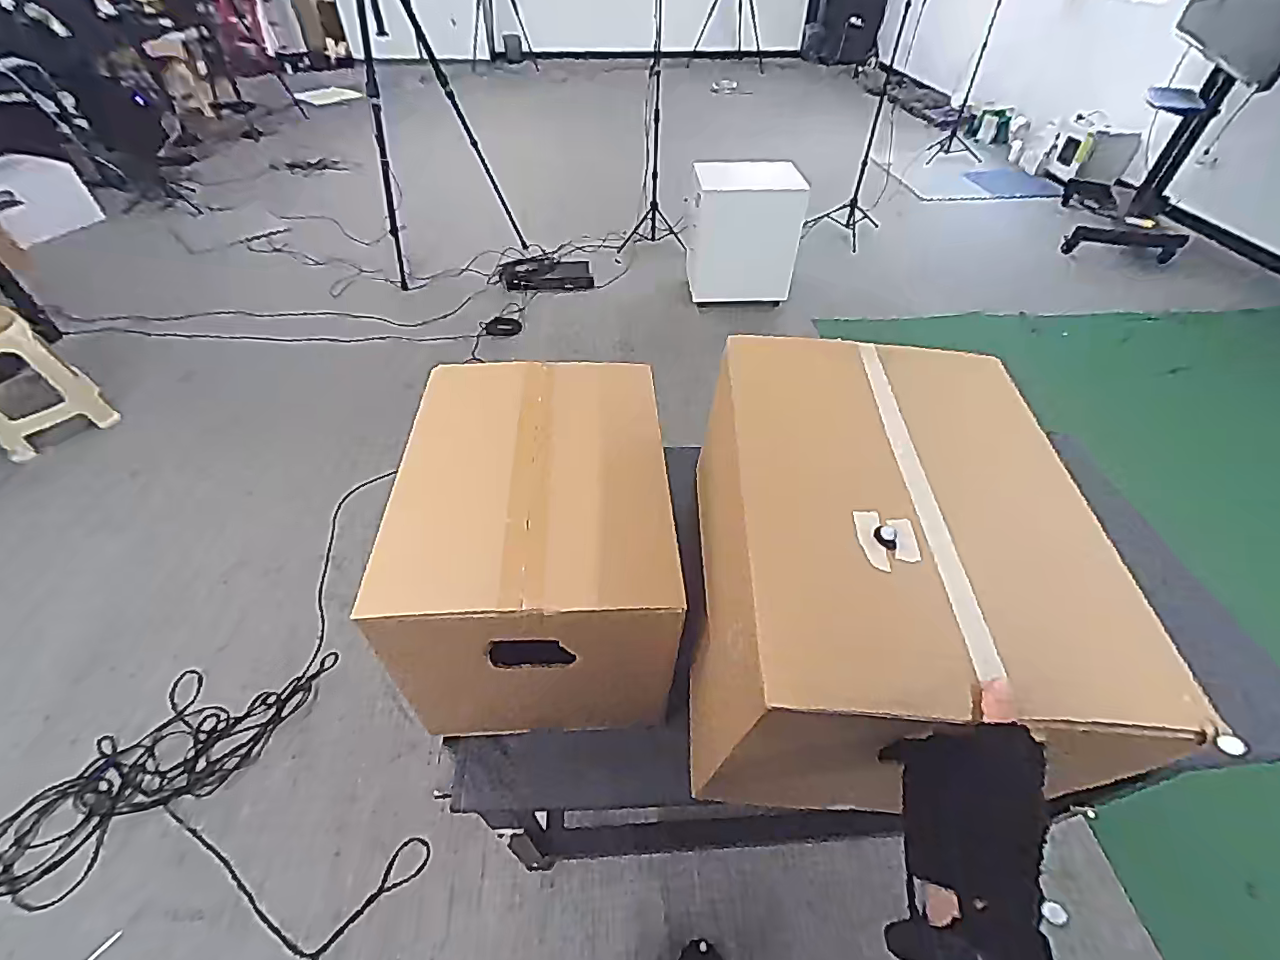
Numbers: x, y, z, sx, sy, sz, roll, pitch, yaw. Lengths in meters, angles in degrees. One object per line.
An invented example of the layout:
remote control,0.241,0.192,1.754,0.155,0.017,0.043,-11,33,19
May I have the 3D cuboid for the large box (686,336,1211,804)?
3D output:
large box,0.229,0.097,0.597,0.320,0.320,0.408,4,51,-1
